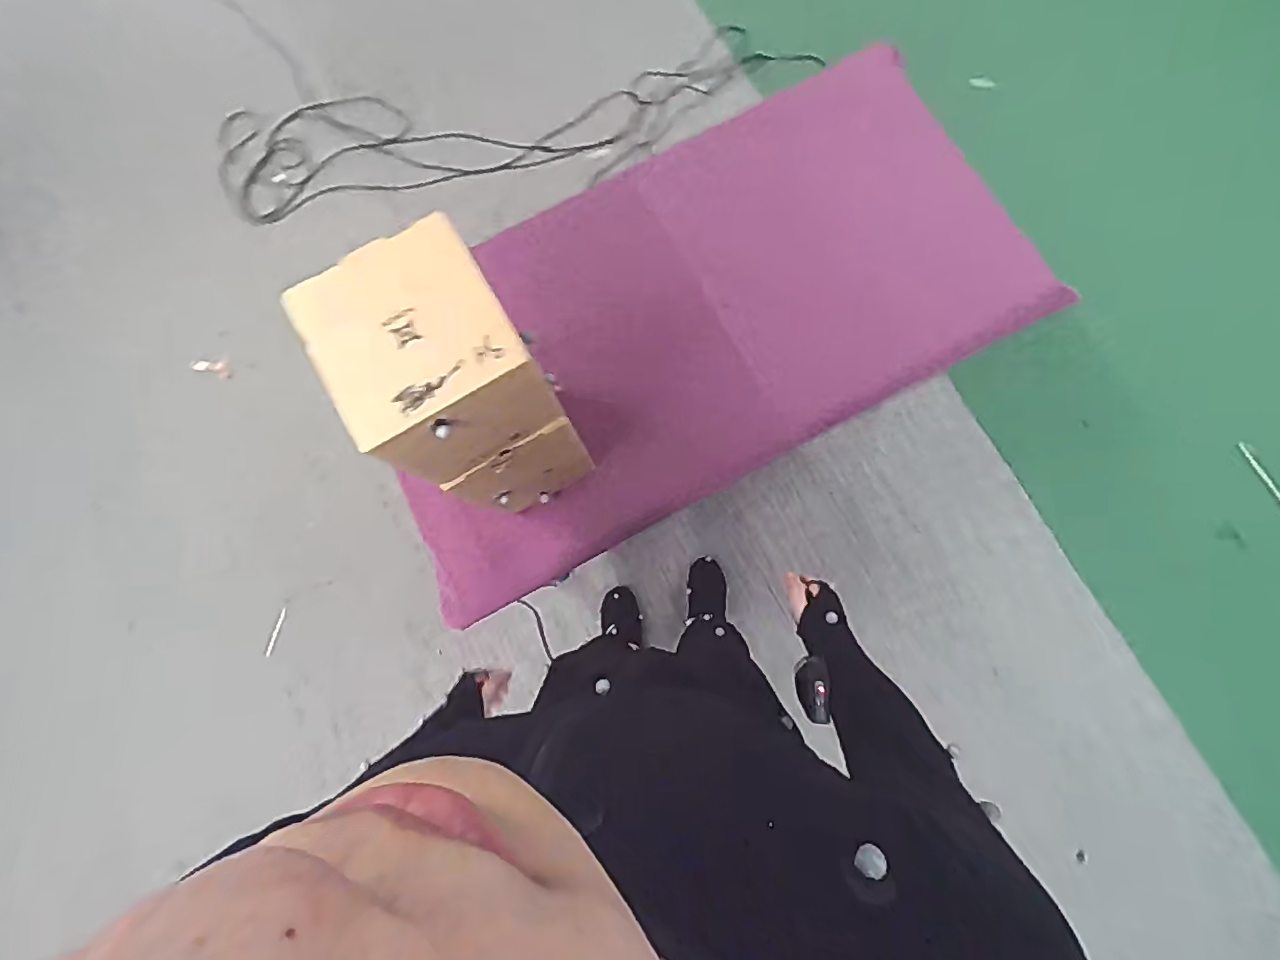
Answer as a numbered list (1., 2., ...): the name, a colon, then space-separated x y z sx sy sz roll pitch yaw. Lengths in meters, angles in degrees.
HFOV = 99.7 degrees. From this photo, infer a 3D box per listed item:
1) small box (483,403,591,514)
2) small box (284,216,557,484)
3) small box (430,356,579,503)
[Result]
1. small box: -0.195 -0.061 0.877 0.168 0.176 0.179 -30 81 -3
2. small box: -0.207 -0.117 0.555 0.168 0.176 0.179 -31 79 -3
3. small box: -0.197 -0.082 0.714 0.168 0.176 0.179 -30 79 -3
